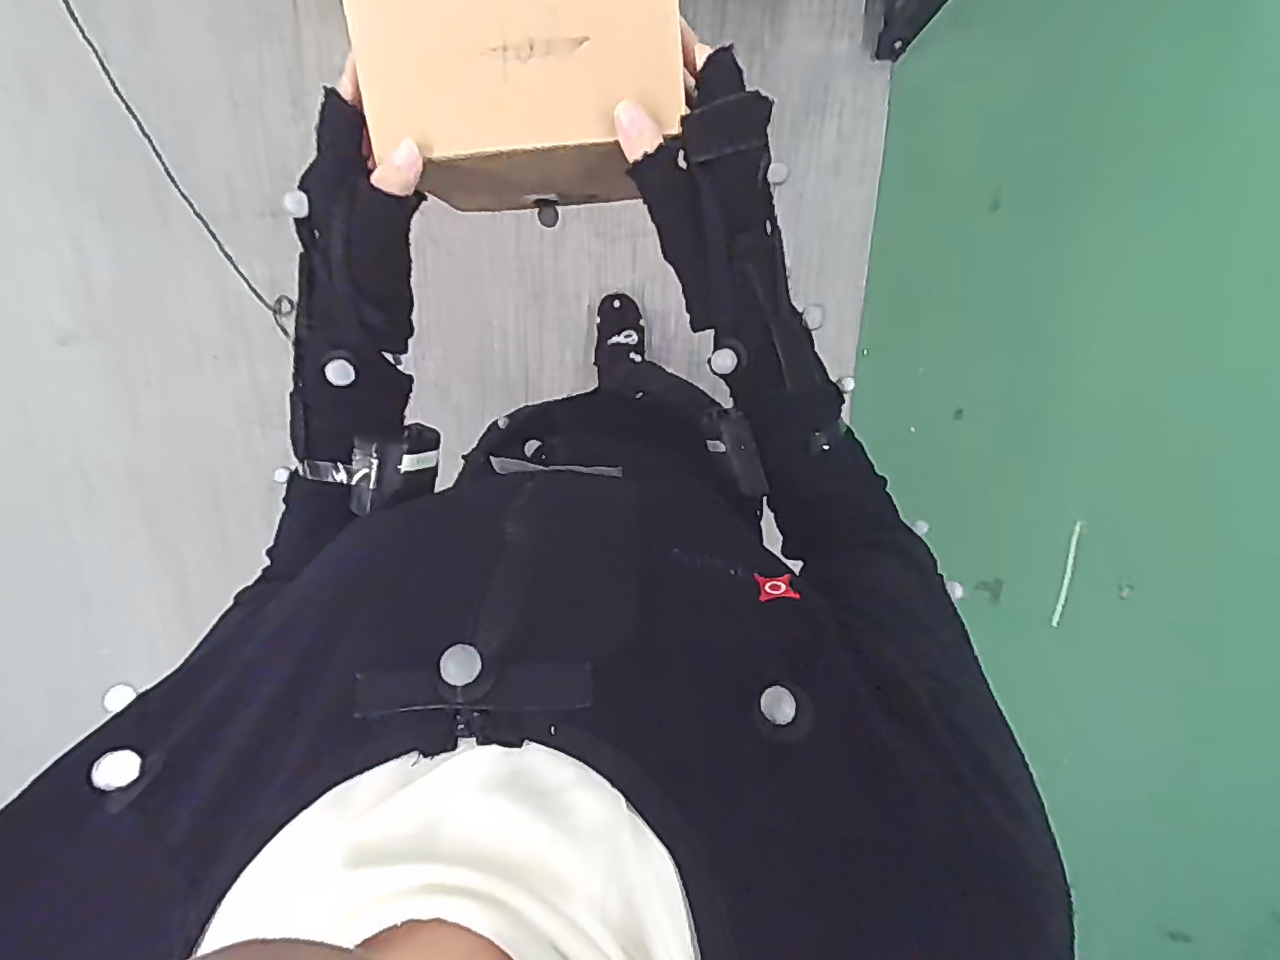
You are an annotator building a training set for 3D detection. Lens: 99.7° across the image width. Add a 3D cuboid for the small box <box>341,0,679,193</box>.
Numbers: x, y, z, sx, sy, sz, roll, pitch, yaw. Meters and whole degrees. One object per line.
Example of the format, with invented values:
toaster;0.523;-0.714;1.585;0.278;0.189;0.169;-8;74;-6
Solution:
small box;-0.068;-0.293;0.330;0.168;0.176;0.179;-4;108;1
